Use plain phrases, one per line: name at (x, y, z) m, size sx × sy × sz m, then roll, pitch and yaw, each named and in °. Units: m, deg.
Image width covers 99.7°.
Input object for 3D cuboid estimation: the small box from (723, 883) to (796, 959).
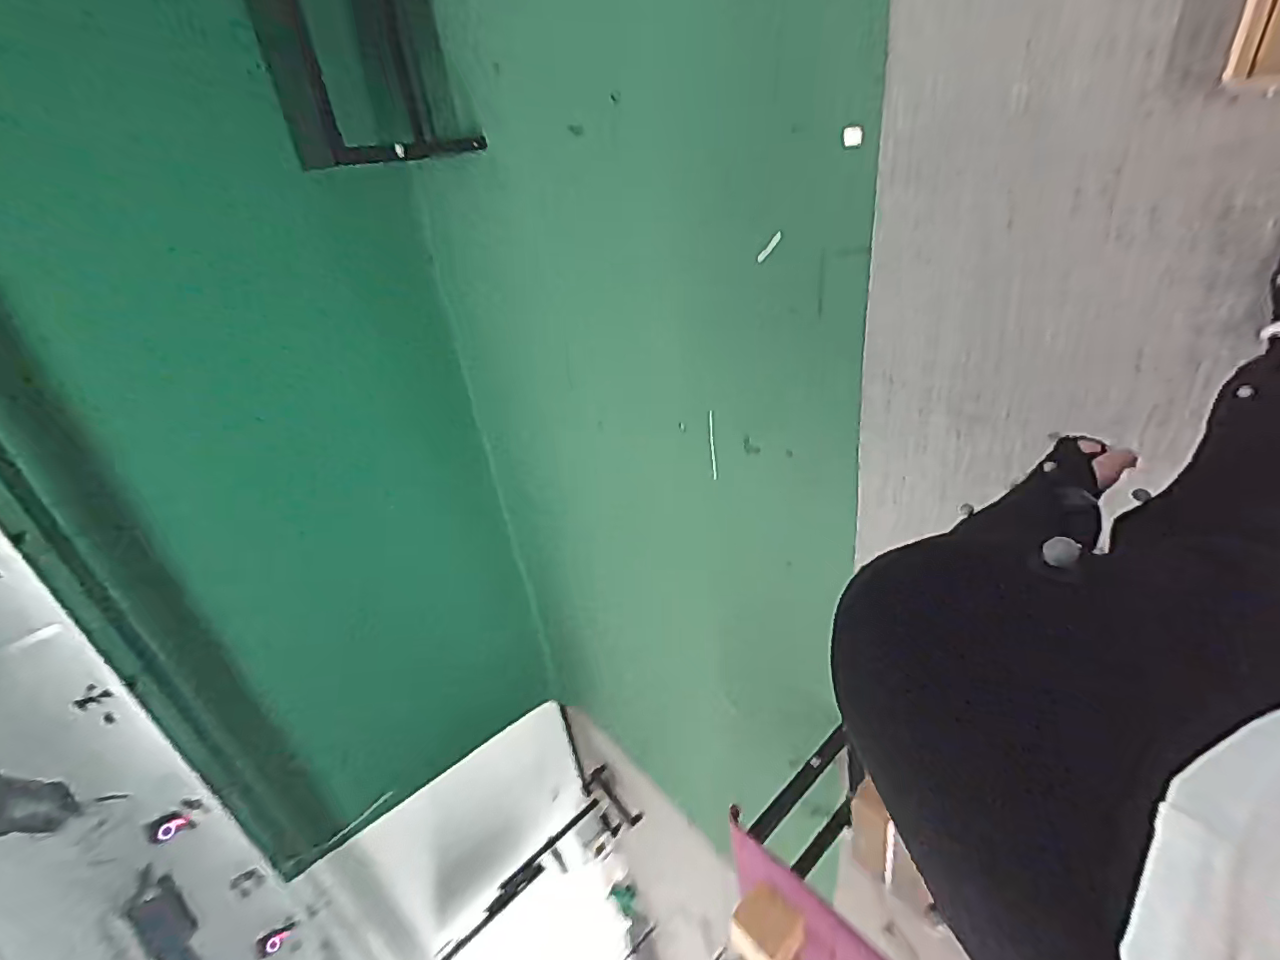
small box at (0.389, 1.473, 1.752) m, size 0.168 × 0.176 × 0.179 m, roll 23°, pitch 132°, yaw 44°
